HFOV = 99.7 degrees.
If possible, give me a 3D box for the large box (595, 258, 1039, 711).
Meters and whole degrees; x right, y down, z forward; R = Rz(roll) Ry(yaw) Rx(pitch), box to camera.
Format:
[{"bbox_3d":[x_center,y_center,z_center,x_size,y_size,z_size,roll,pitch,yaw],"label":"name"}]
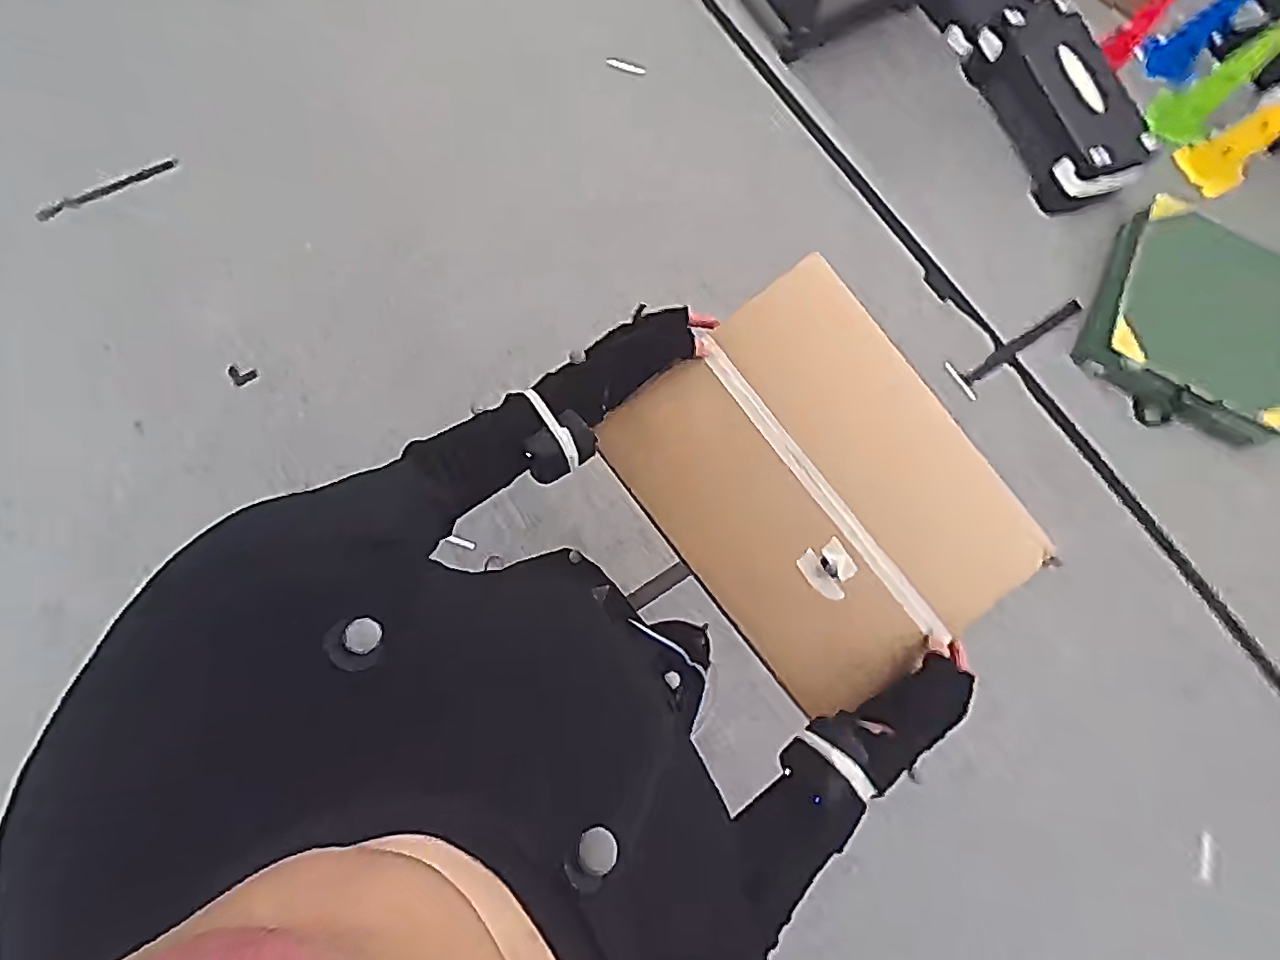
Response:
[{"bbox_3d":[0.187,0.004,0.728,0.320,0.320,0.408,-38,89,0],"label":"large box"}]
